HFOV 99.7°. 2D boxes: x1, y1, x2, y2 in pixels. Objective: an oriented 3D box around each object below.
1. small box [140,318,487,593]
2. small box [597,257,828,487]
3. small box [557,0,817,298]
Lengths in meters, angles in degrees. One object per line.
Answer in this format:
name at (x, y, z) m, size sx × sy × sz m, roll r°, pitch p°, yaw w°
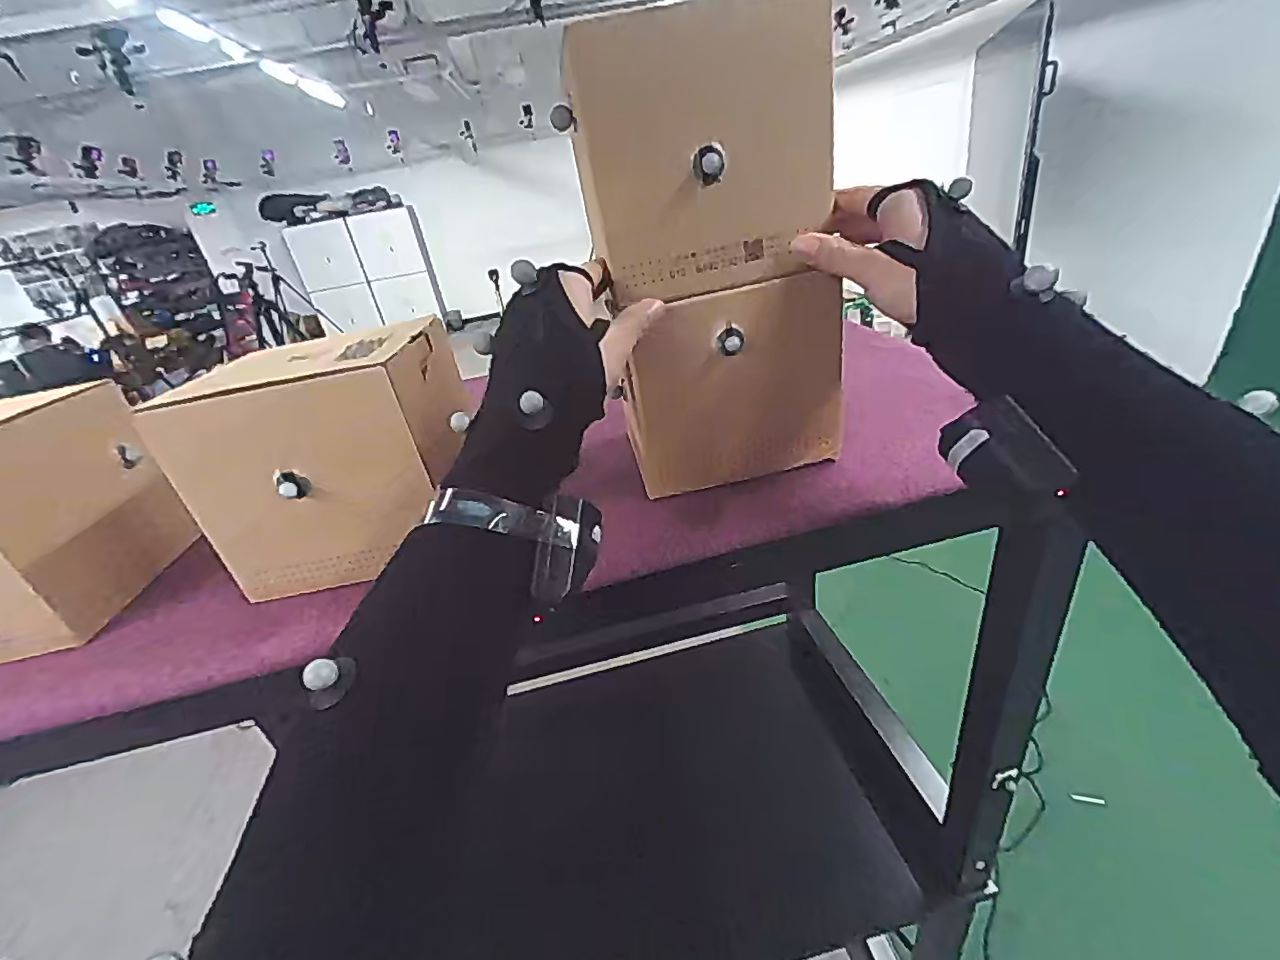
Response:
small box at (-0.248, -0.027, 0.472) m, size 0.179 × 0.176 × 0.168 m, roll -12°, pitch 28°, yaw -1°
small box at (0.064, -0.109, 0.509) m, size 0.179 × 0.176 × 0.168 m, roll -12°, pitch 28°, yaw -1°
small box at (0.034, -0.252, 0.437) m, size 0.168 × 0.176 × 0.179 m, roll -12°, pitch 29°, yaw -2°
